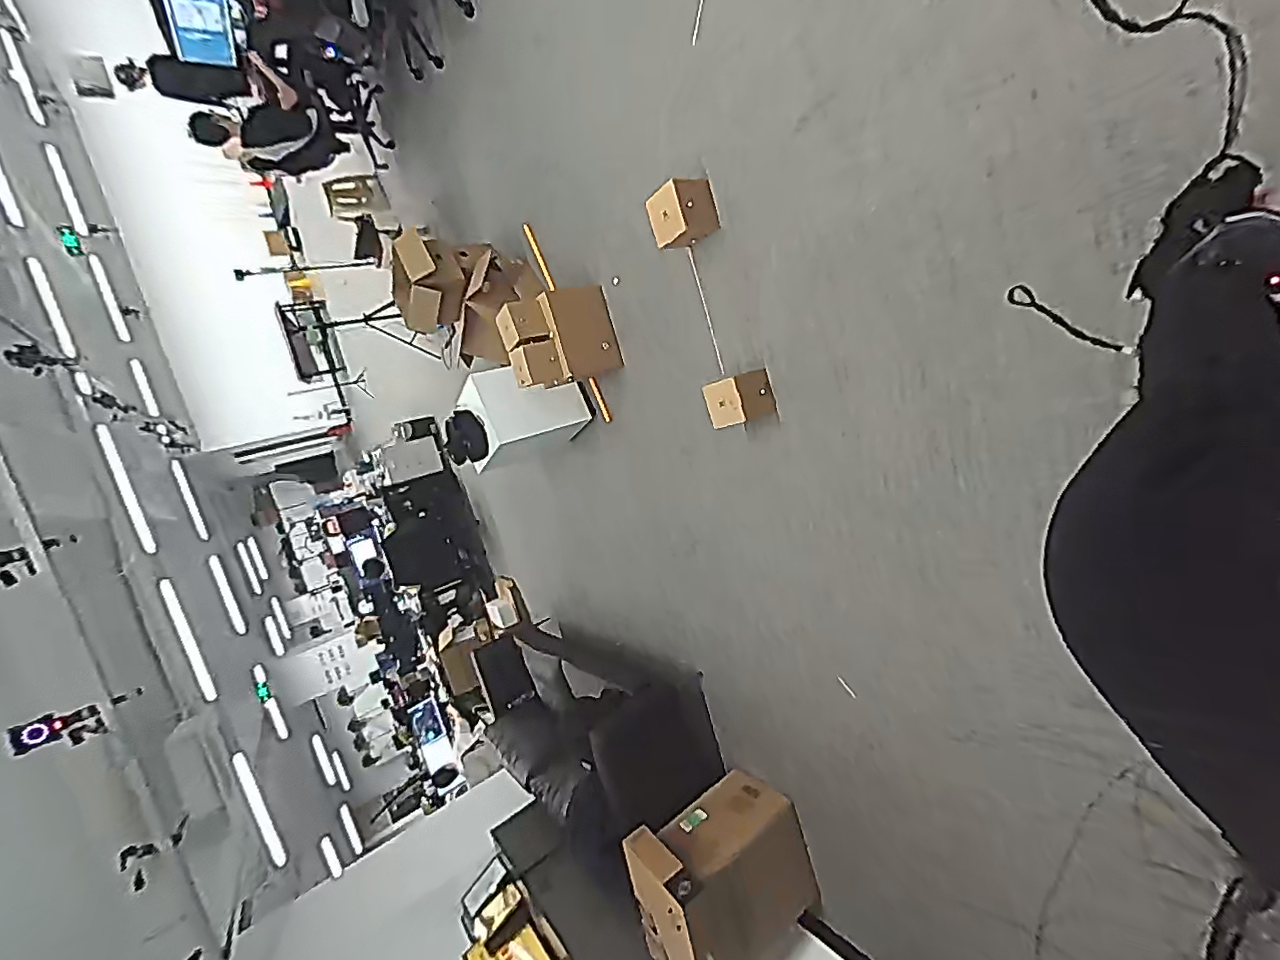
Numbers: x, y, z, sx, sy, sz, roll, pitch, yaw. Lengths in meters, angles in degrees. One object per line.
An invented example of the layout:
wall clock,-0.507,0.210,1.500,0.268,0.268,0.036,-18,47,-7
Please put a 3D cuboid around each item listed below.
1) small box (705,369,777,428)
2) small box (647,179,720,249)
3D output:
small box,0.372,-0.298,1.989,0.179,0.176,0.168,-8,101,58
small box,0.156,-0.946,1.929,0.168,0.176,0.179,-8,102,57
